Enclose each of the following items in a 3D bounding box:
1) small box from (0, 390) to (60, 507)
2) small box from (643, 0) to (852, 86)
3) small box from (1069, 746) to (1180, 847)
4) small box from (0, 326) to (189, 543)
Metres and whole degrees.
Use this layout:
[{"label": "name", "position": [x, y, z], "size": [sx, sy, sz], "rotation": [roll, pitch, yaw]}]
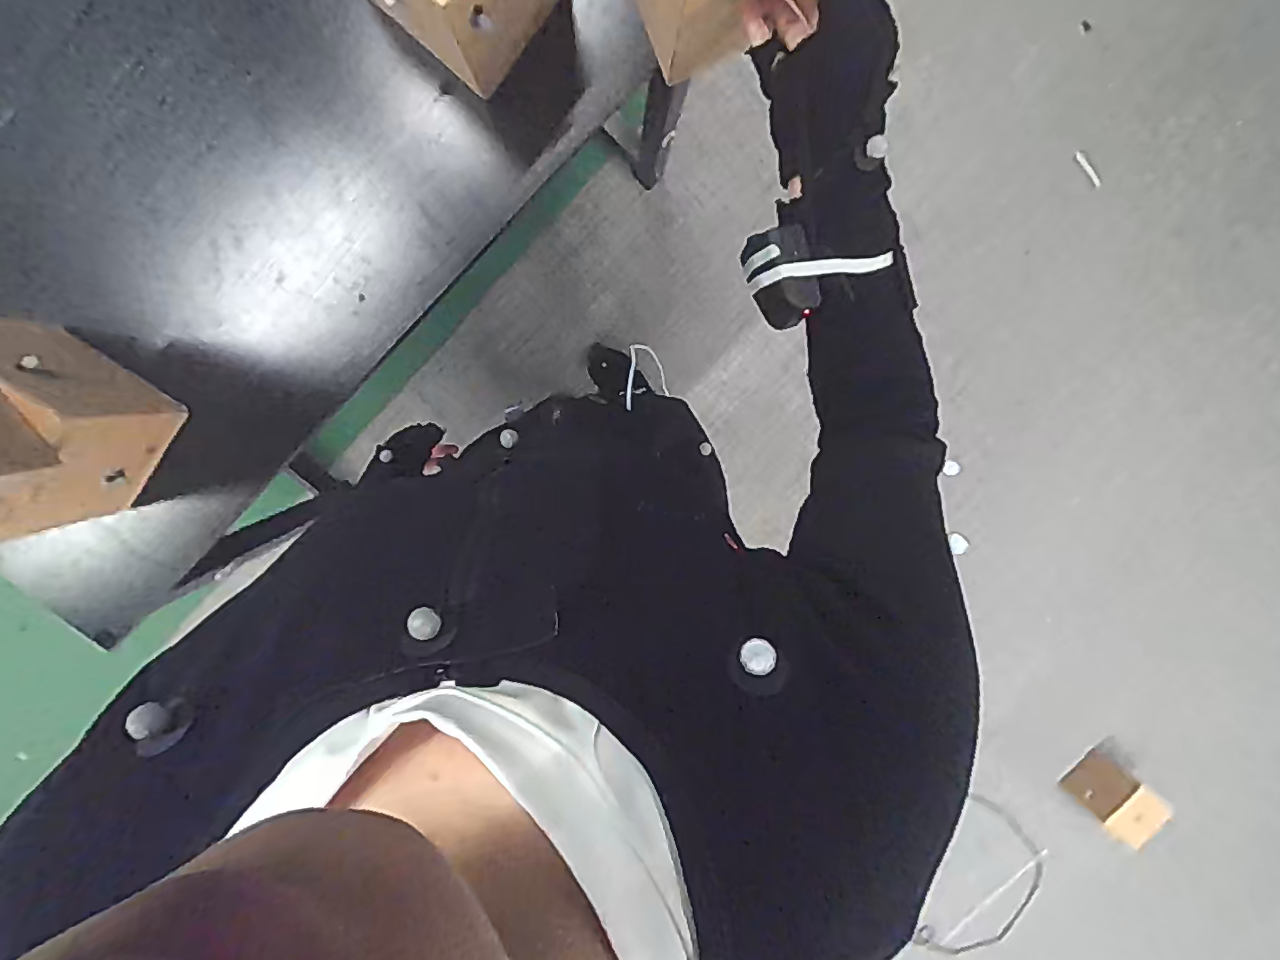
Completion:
[{"label": "small box", "position": [-0.673, -0.025, 0.448], "size": [0.168, 0.176, 0.179], "rotation": [-33, 101, 2]}, {"label": "small box", "position": [0.076, -0.432, 0.379], "size": [0.168, 0.176, 0.179], "rotation": [-22, 105, 3]}, {"label": "small box", "position": [1.508, 0.990, 1.701], "size": [0.168, 0.176, 0.179], "rotation": [38, 95, -10]}, {"label": "small box", "position": [-0.682, -0.059, 0.609], "size": [0.179, 0.176, 0.168], "rotation": [35, 96, -10]}]
